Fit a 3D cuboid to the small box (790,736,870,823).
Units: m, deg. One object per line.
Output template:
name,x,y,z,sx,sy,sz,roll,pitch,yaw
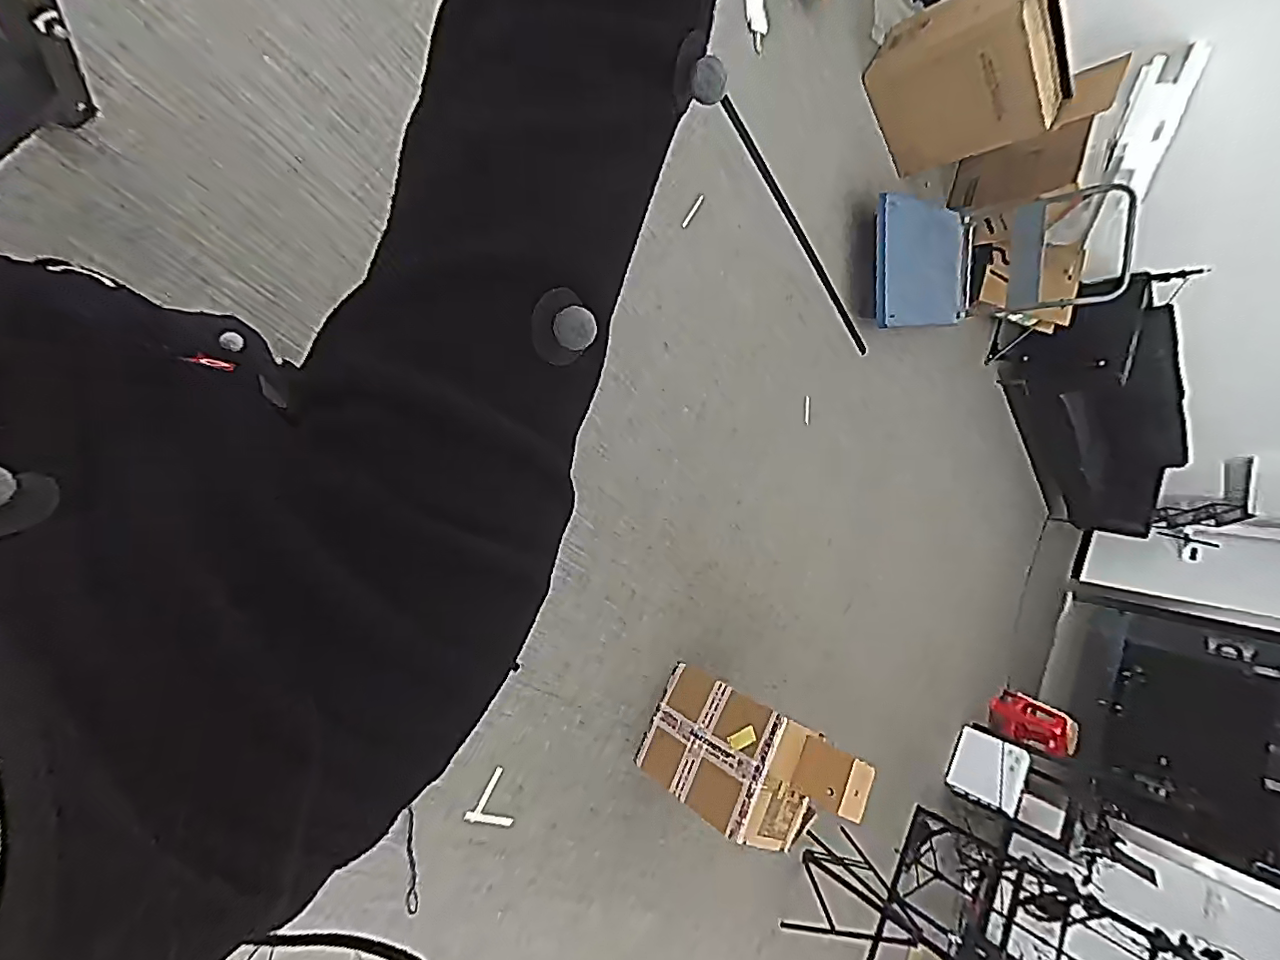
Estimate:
small box,0.610,0.965,1.748,0.168,0.176,0.179,41,67,-35
